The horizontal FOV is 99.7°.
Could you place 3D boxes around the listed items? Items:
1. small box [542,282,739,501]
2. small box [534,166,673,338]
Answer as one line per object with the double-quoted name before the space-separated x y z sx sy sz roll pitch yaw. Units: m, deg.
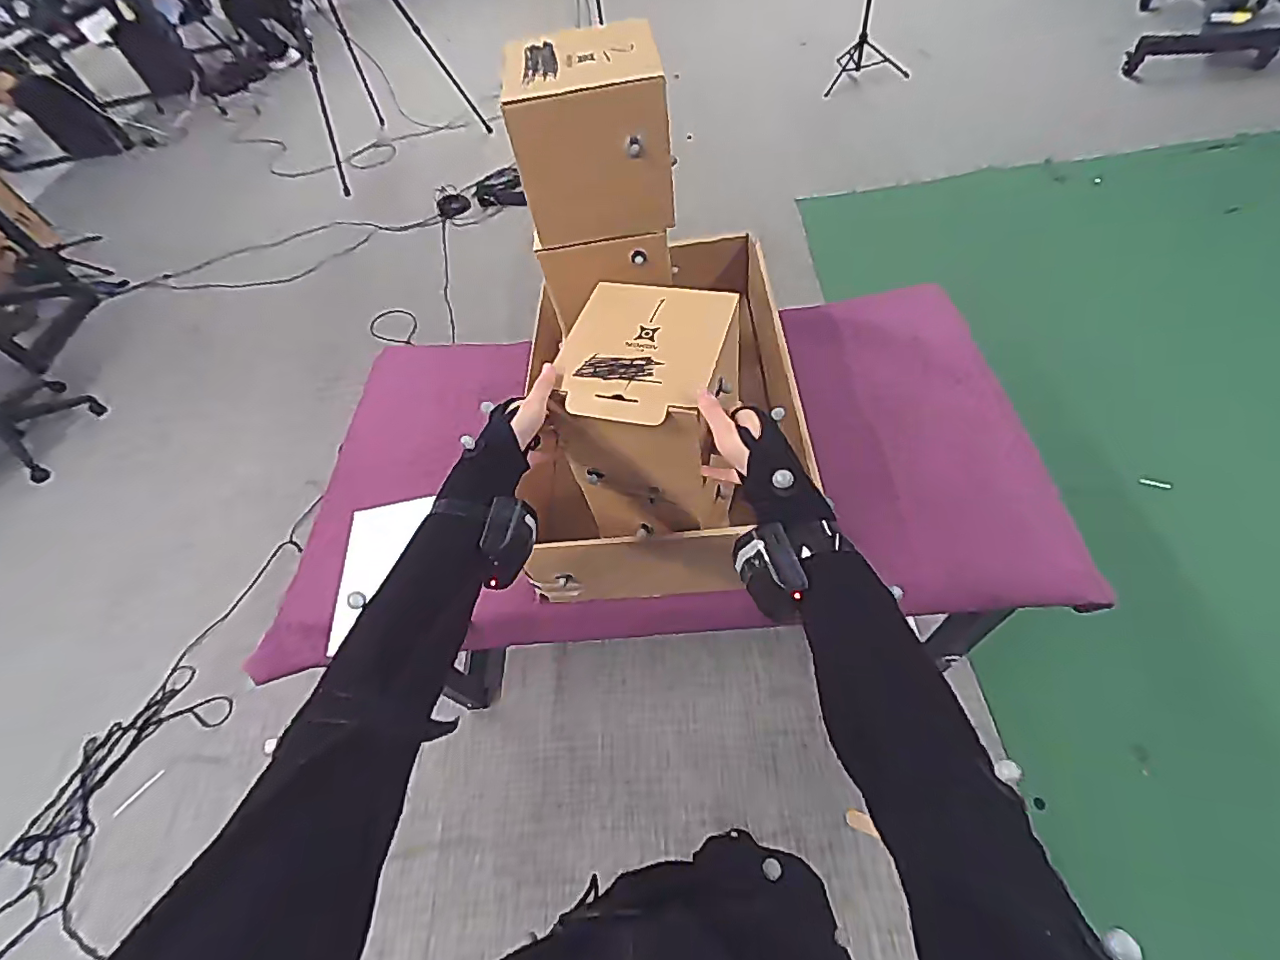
"small box" 0.015 -0.098 0.619 0.168 0.176 0.179 11 57 16
"small box" -0.045 -0.326 0.801 0.179 0.176 0.168 -7 56 5
